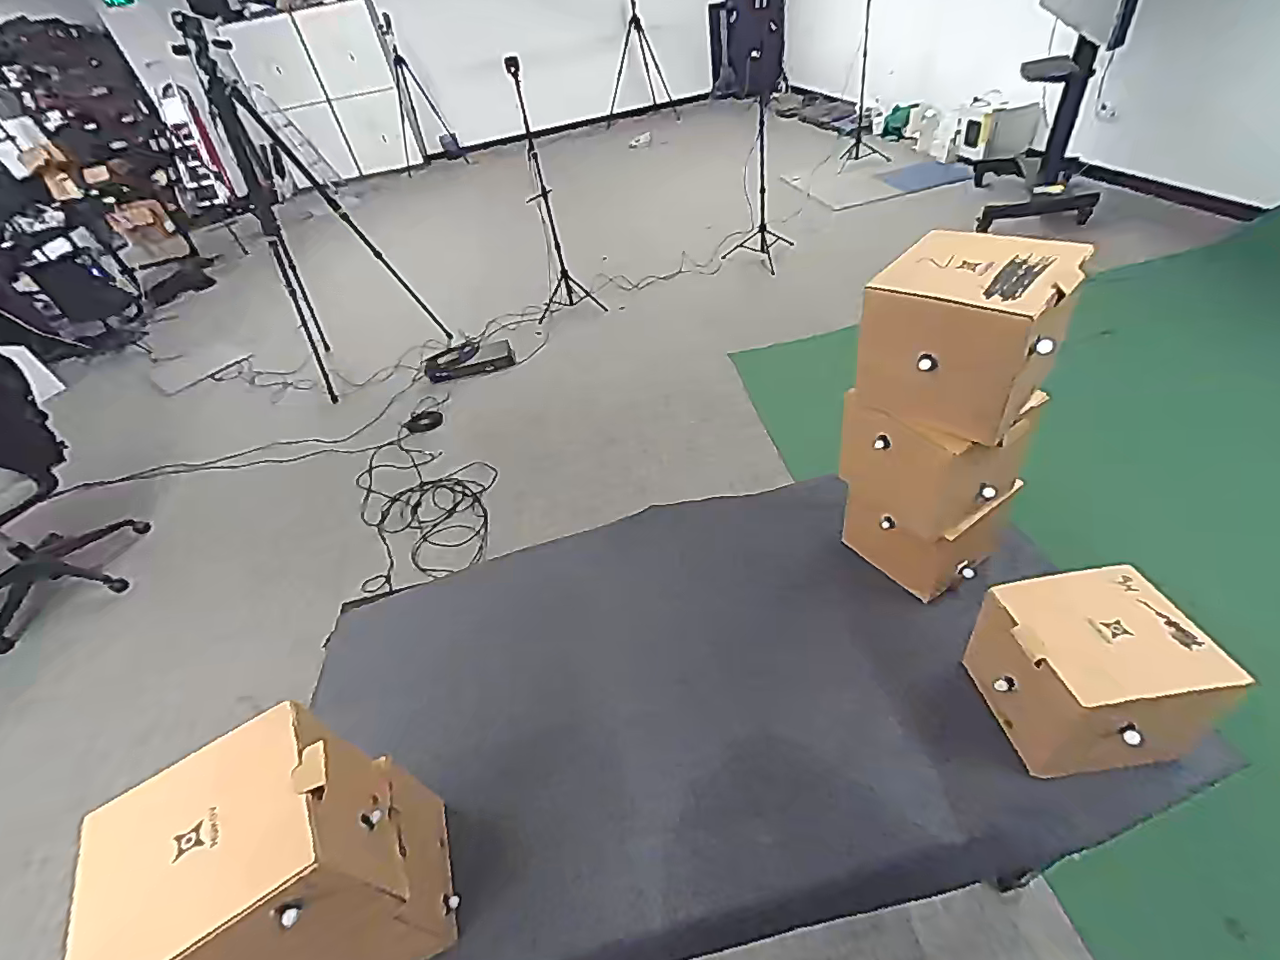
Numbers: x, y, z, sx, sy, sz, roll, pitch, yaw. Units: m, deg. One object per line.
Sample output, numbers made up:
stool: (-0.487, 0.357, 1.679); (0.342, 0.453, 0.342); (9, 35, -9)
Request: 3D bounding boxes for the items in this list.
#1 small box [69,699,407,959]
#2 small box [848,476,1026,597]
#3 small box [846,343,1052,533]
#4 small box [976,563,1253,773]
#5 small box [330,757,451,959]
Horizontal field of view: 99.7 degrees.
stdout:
small box: (-0.349, 0.349, 0.495); (0.179, 0.176, 0.168); (-30, 46, -19)
small box: (0.459, 0.052, 0.868); (0.168, 0.176, 0.179); (-31, 47, -16)
small box: (0.409, -0.059, 0.755); (0.168, 0.176, 0.179); (-29, 45, -12)
small box: (0.537, 0.229, 0.653); (0.179, 0.176, 0.168); (-11, 38, 3)
small box: (-0.329, 0.457, 0.615); (0.179, 0.176, 0.168); (-22, 44, -10)
